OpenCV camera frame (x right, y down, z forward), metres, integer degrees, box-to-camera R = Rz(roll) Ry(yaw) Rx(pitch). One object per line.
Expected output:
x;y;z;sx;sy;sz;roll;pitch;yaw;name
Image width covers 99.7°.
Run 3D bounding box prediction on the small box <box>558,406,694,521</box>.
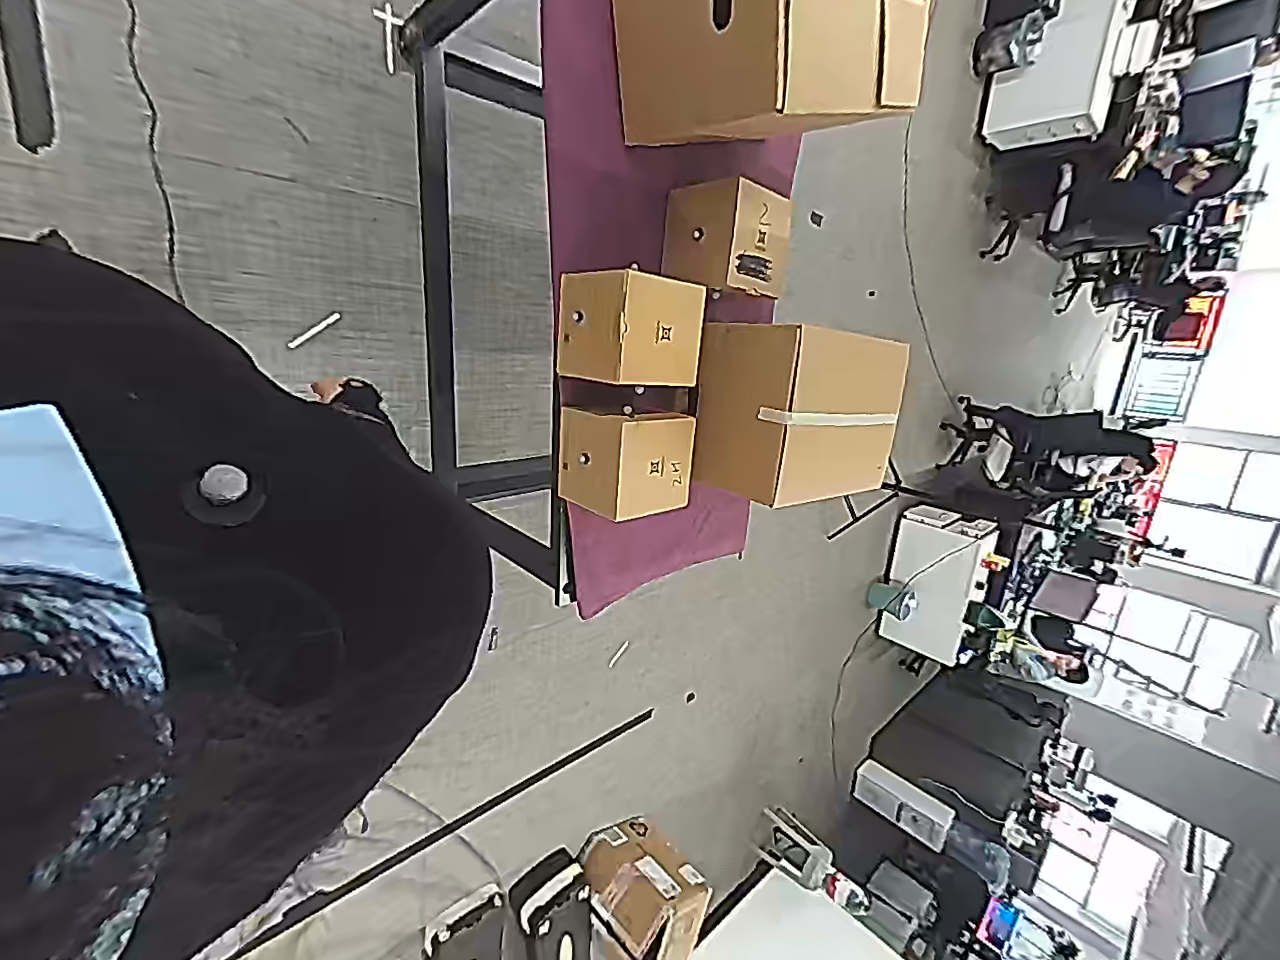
-0.030;-0.038;0.962;0.179;0.176;0.168;-9;110;-43;small box
